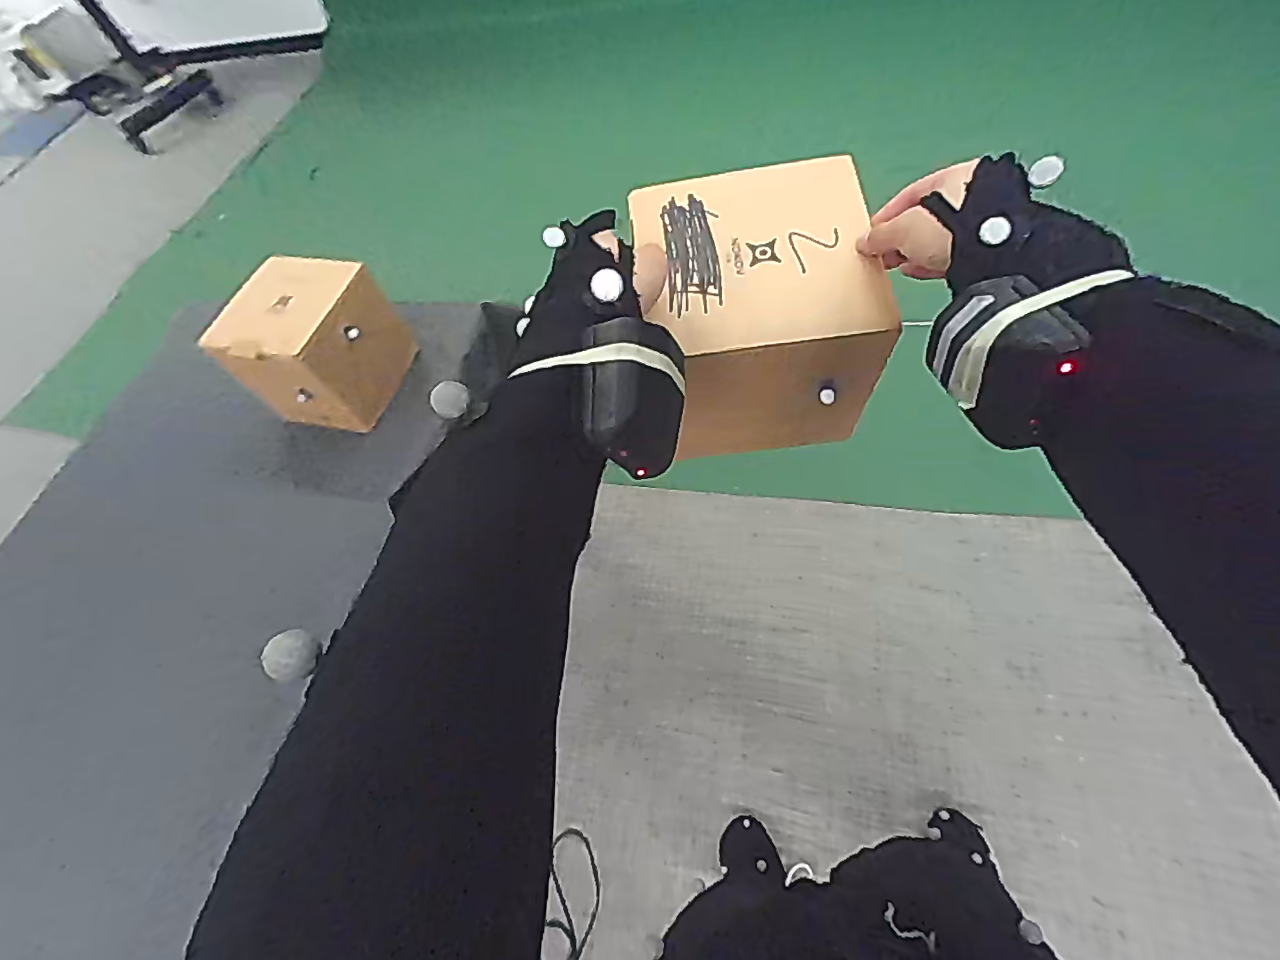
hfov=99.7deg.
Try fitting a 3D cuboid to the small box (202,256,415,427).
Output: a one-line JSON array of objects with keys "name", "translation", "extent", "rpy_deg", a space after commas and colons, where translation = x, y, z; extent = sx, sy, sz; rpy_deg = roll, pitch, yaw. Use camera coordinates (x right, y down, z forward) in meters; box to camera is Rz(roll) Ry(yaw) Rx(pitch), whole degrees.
[{"name": "small box", "translation": [-0.466, -0.199, 0.794], "extent": [0.168, 0.176, 0.179], "rpy_deg": [10, 62, 14]}]
